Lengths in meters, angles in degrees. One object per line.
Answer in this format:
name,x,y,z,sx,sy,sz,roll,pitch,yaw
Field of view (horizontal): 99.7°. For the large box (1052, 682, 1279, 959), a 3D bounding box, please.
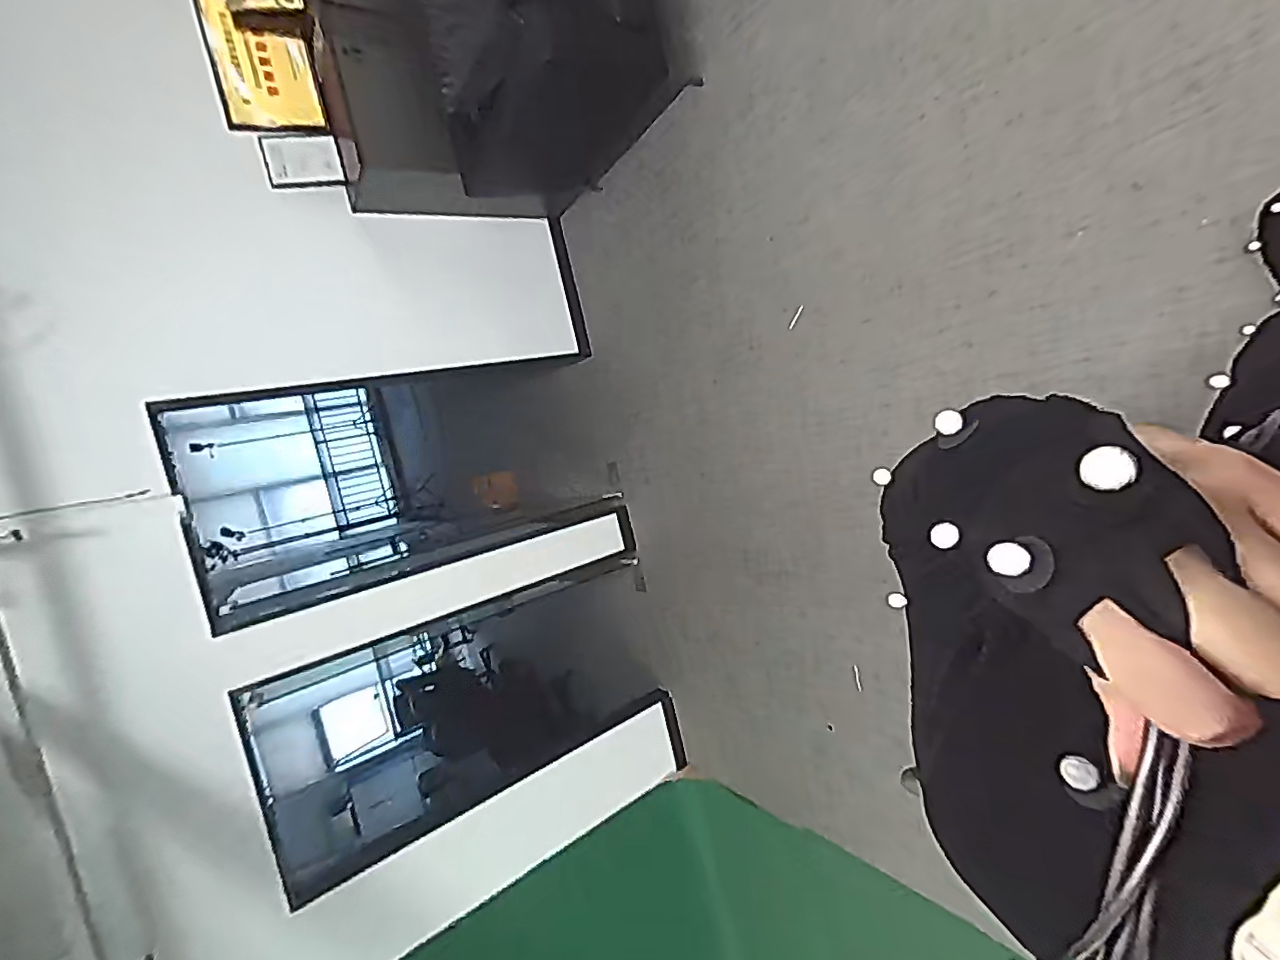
large box,1.121,0.659,1.074,0.320,0.320,0.408,-27,80,56
